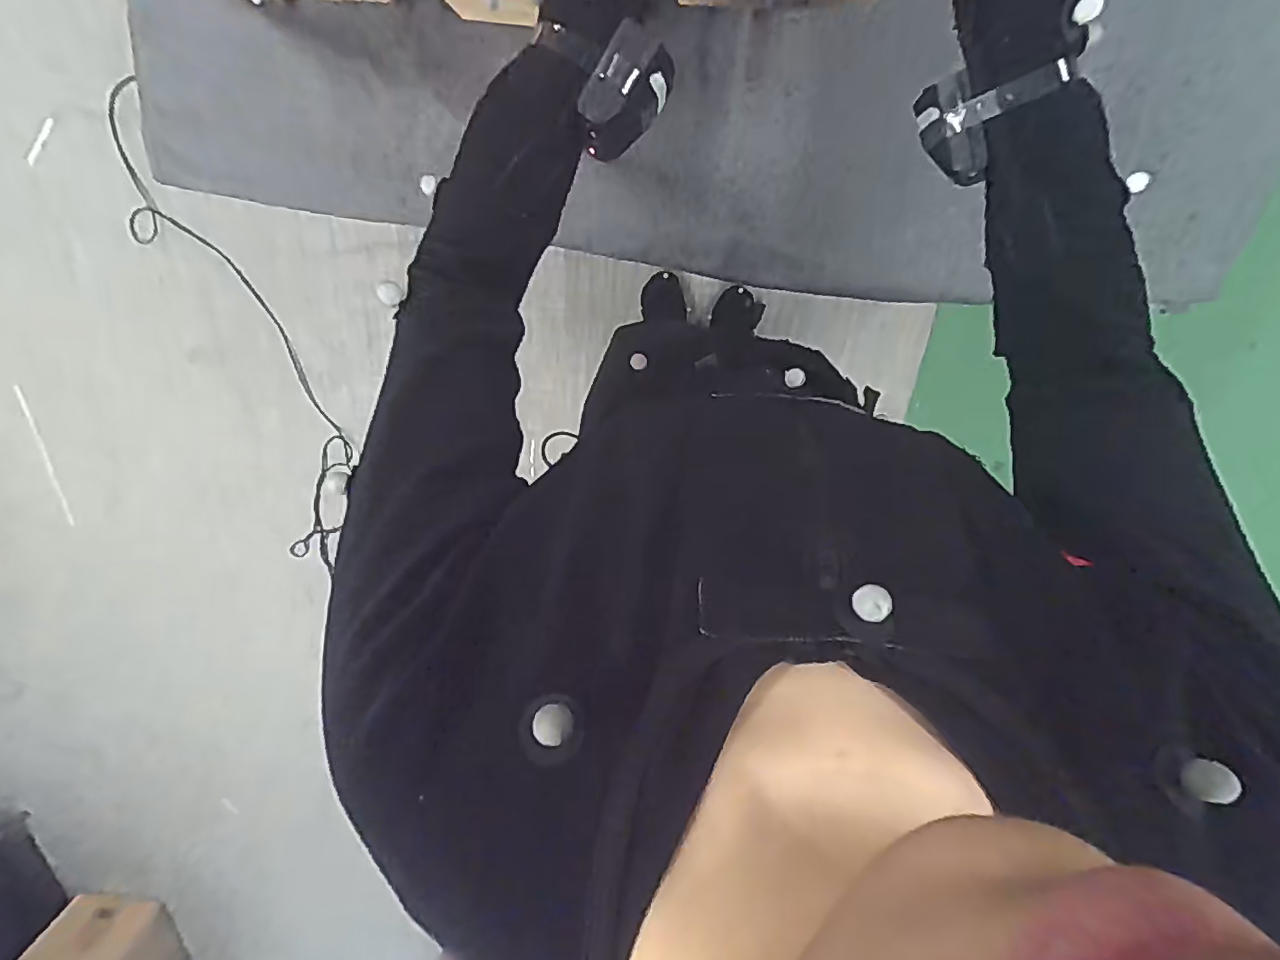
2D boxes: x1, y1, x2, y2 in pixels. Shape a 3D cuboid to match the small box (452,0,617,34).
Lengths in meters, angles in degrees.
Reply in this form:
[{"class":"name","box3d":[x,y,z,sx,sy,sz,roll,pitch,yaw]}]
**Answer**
[{"class":"small box","box3d":[-0.102,-0.512,0.452,0.168,0.176,0.179,7,112,1]}]
